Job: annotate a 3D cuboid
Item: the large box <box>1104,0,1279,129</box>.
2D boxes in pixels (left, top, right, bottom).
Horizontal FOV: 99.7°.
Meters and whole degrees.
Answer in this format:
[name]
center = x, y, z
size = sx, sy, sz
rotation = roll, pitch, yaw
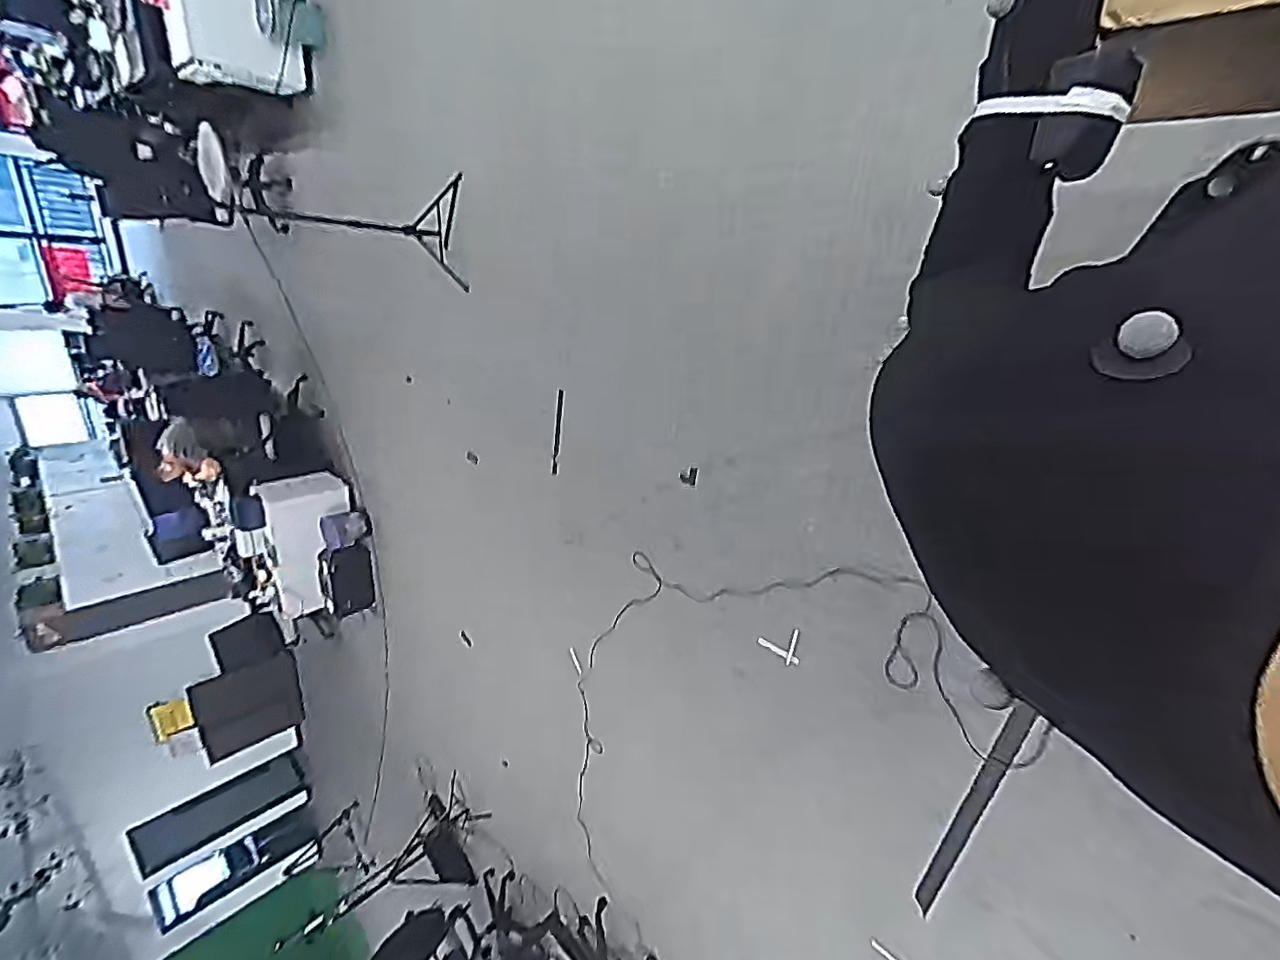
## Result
[large box]
center = 0.550, -0.418, 0.291
size = 0.408, 0.320, 0.320
rotation = 19, 118, 35
